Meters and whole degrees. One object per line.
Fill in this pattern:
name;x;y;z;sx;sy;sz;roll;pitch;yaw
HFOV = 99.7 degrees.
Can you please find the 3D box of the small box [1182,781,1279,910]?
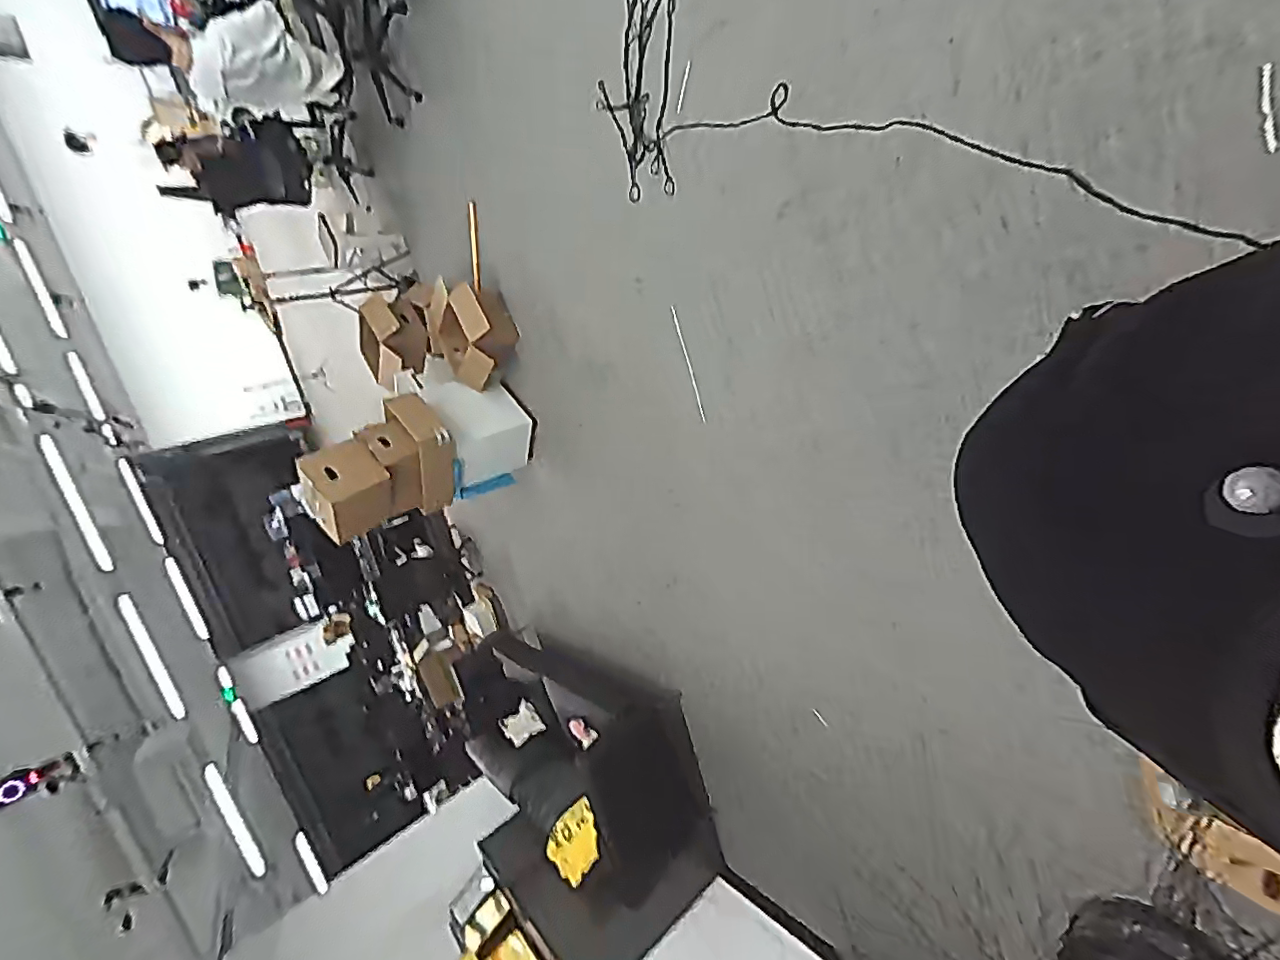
small box;1.340;0.773;1.175;0.179;0.176;0.168;23;127;48
